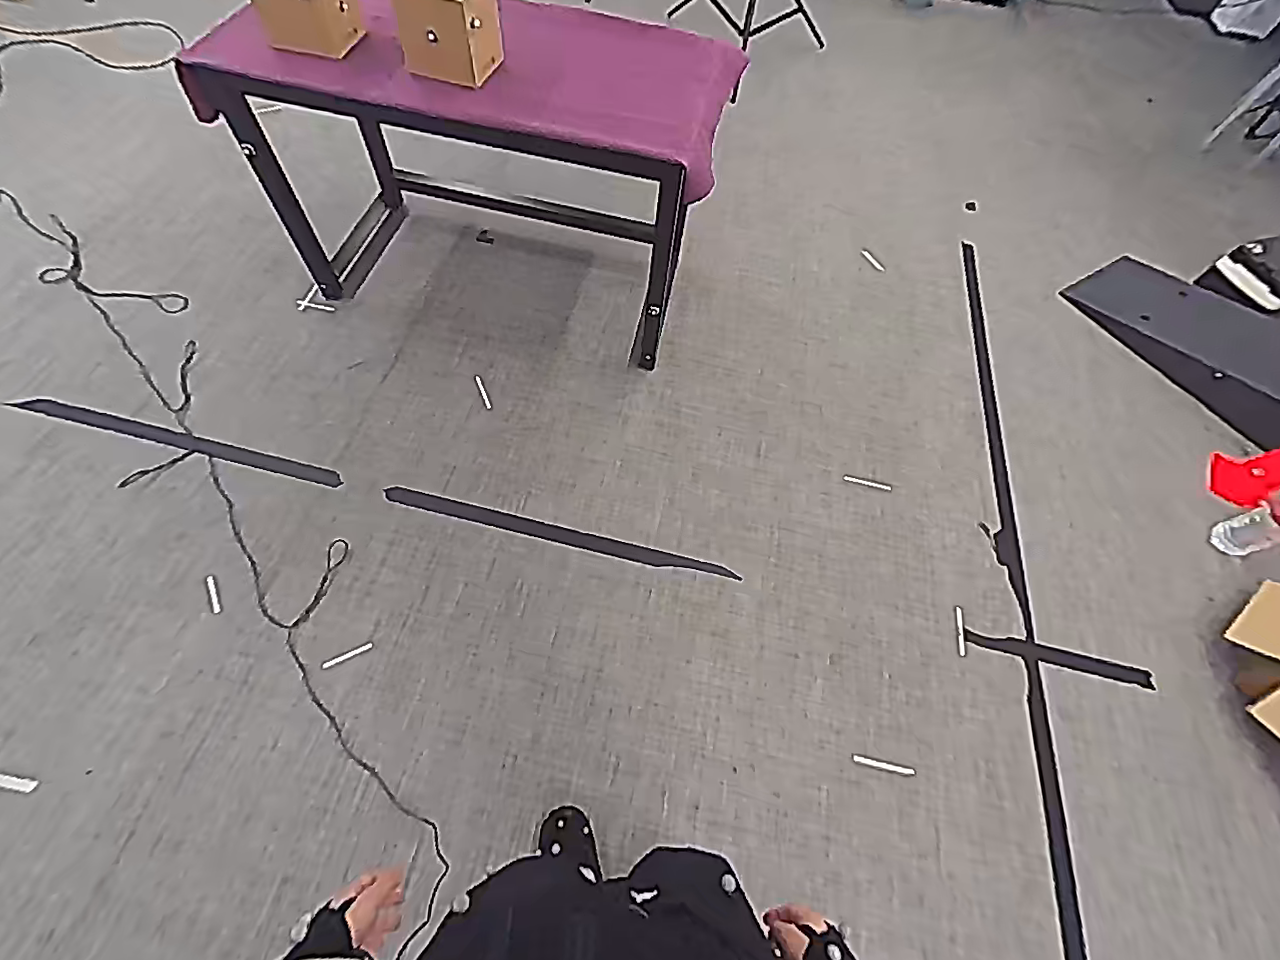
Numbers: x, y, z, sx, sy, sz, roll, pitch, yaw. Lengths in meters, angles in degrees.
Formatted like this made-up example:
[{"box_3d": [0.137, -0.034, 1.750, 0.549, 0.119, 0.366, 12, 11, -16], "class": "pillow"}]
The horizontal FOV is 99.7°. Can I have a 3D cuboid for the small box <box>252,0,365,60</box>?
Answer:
[{"box_3d": [-0.779, -1.124, 1.265, 0.179, 0.176, 0.168, 10, 59, 0], "class": "small box"}]
